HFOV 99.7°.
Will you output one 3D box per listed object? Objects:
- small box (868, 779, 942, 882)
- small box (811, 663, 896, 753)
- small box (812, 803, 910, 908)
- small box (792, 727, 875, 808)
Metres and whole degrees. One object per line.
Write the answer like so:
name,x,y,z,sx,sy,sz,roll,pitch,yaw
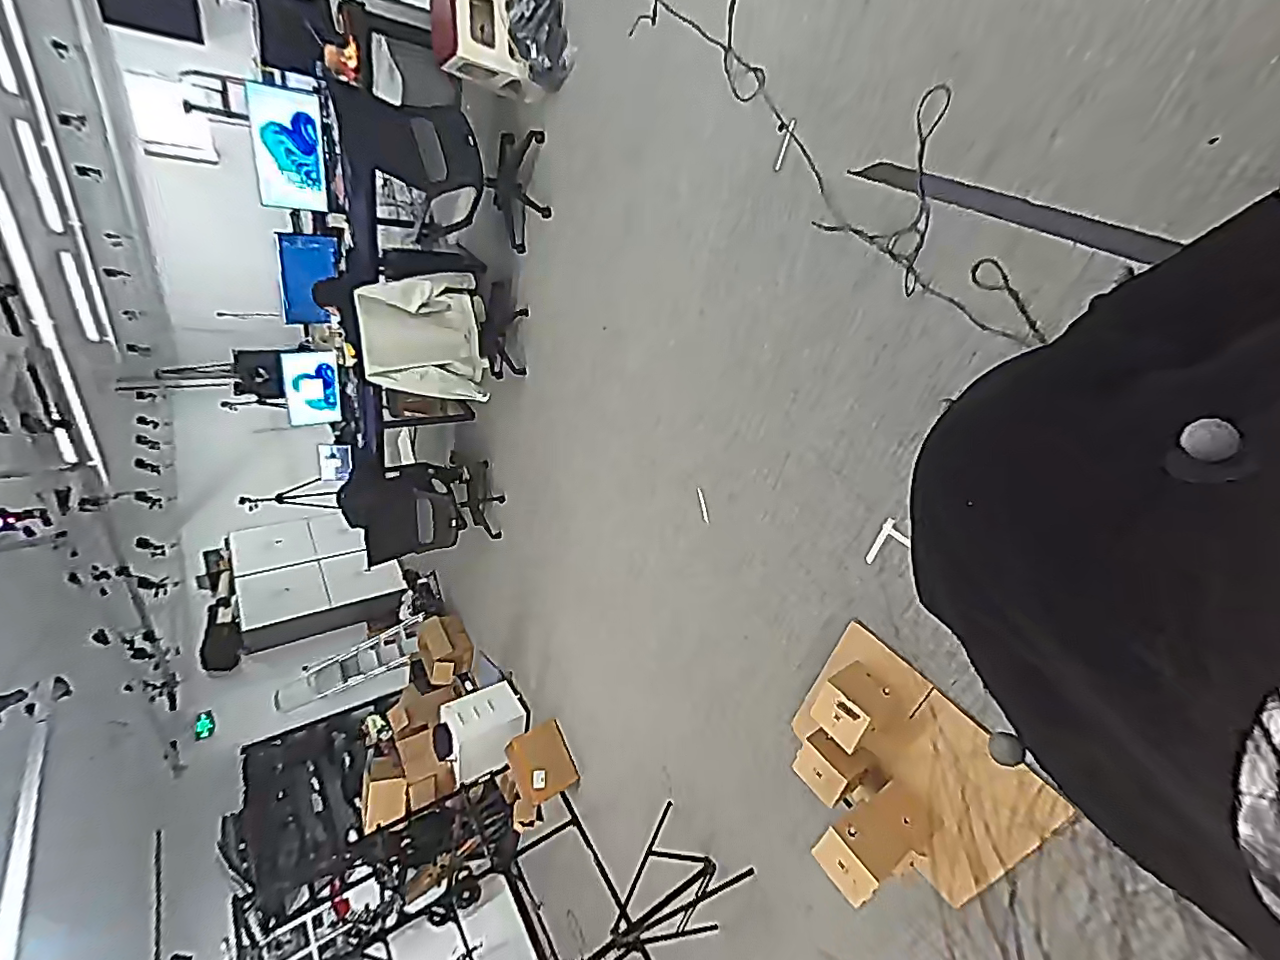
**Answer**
small box,0.796,1.081,1.679,0.179,0.176,0.168,39,128,41
small box,0.685,0.721,1.729,0.168,0.176,0.179,40,130,41
small box,0.651,1.096,1.598,0.179,0.176,0.168,43,133,39
small box,0.658,0.957,1.839,0.179,0.176,0.168,39,130,41
